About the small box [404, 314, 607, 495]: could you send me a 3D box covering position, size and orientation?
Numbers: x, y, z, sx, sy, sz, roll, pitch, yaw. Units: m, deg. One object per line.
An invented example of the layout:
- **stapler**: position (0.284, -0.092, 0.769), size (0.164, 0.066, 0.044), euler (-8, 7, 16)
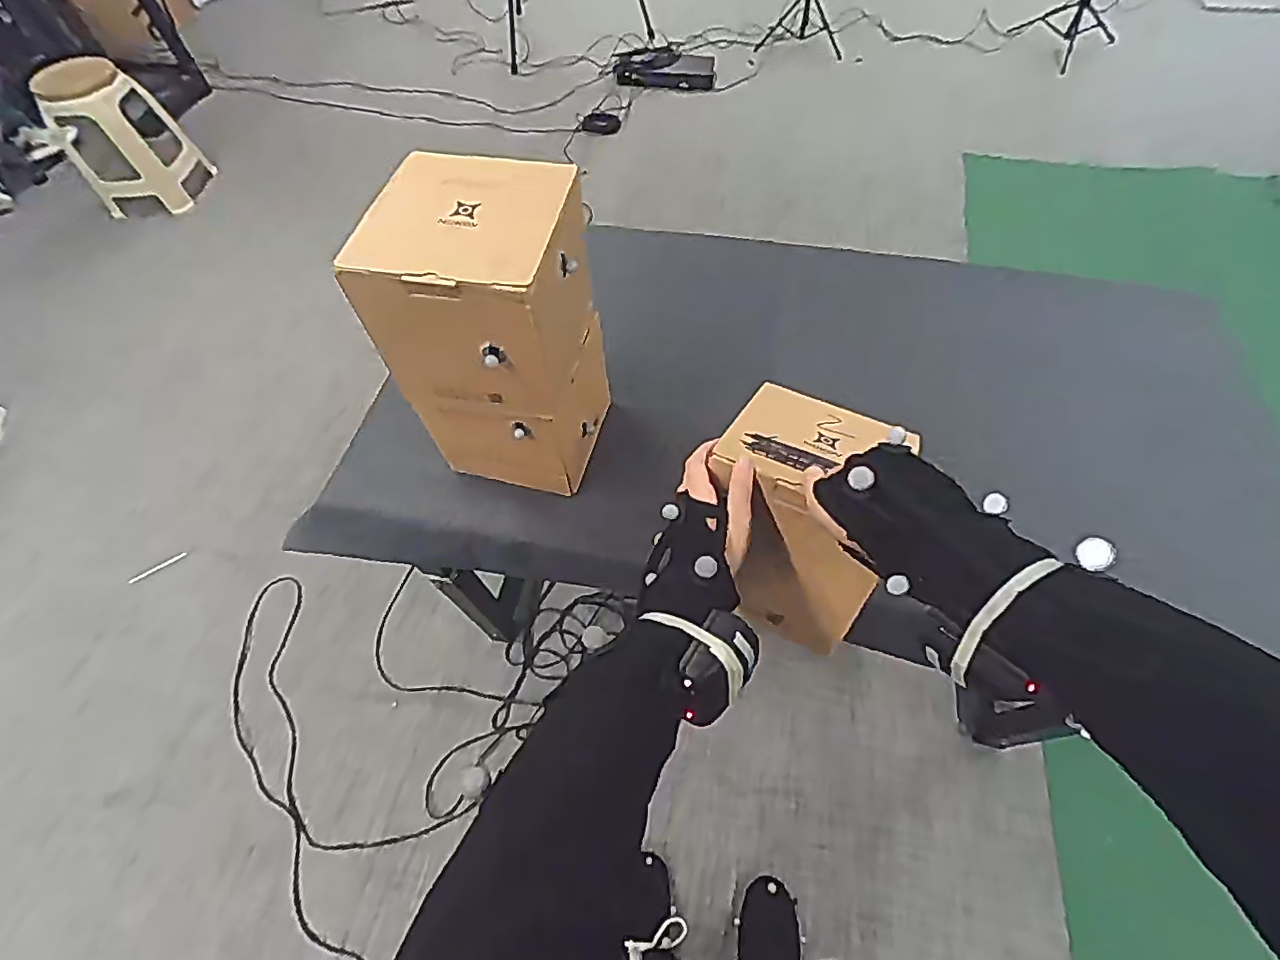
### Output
- **small box**: position (-0.150, -0.100, 0.675), size (0.179, 0.176, 0.168), euler (12, 59, 9)

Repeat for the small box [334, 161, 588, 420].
- **small box**: position (-0.151, -0.180, 0.534), size (0.168, 0.176, 0.179), euler (8, 58, 5)
